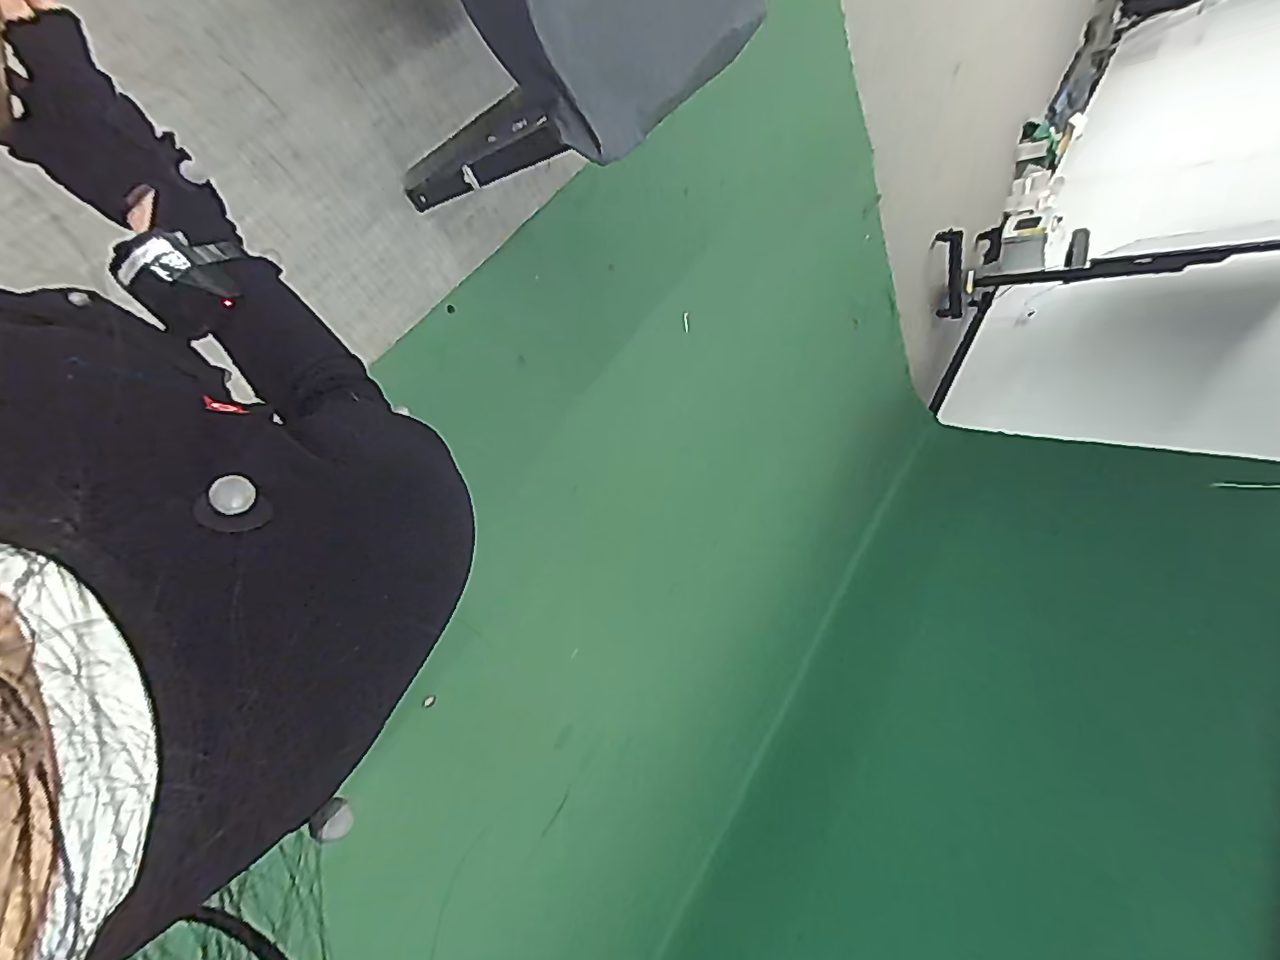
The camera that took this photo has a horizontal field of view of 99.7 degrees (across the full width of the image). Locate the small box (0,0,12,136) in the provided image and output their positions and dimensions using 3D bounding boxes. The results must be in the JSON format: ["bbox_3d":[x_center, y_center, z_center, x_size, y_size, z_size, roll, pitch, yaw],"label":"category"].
[{"bbox_3d":[-0.470,-0.326,0.284,0.168,0.176,0.179,-8,100,-46],"label":"small box"}]
